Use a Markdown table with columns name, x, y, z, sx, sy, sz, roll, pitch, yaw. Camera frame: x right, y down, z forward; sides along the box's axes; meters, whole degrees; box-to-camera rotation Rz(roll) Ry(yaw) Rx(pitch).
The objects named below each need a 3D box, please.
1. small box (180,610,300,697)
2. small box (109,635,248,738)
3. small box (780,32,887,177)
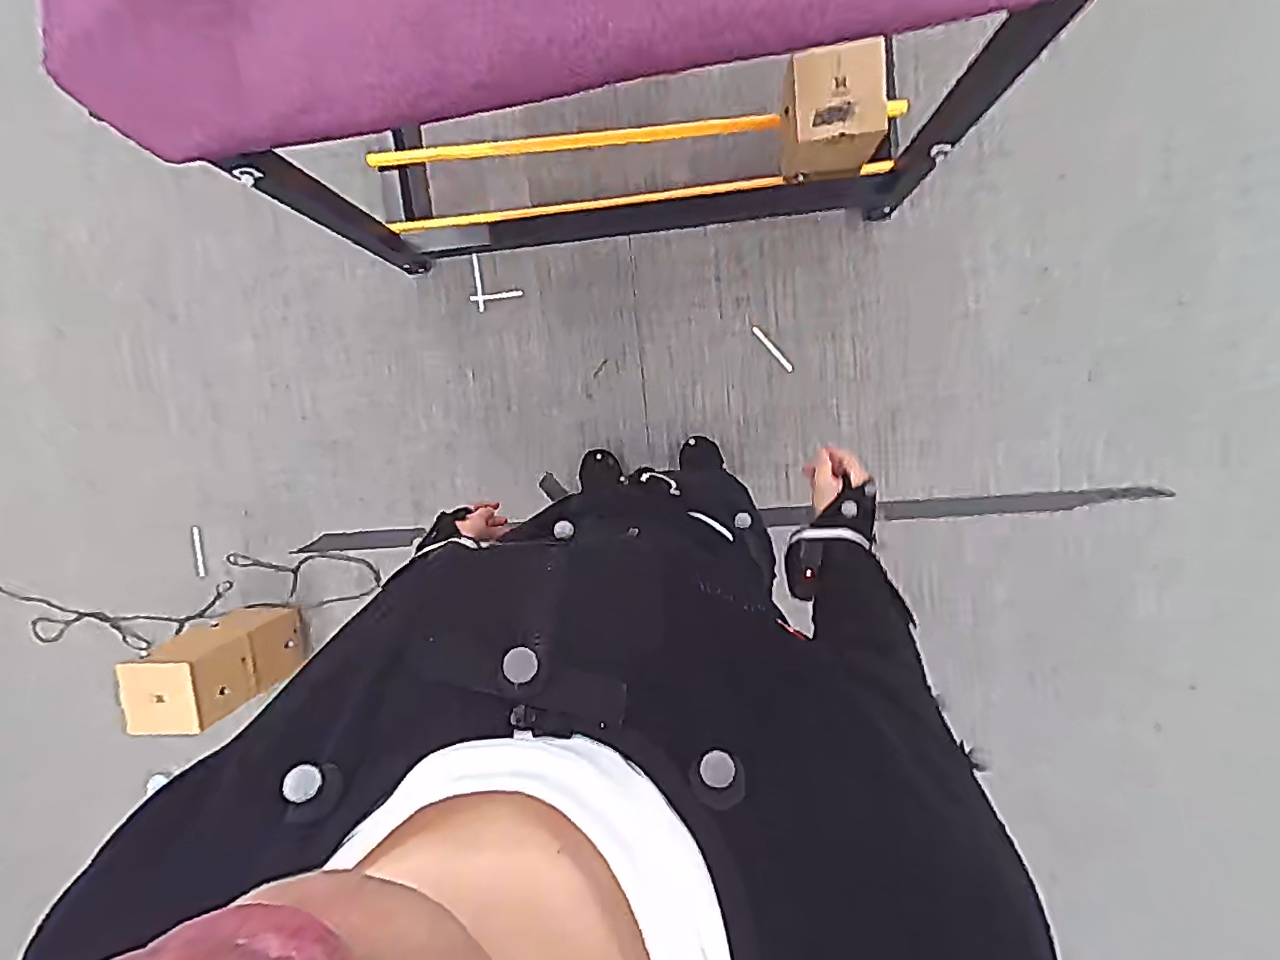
| name | x | y | z | sx | sy | sz | roll | pitch | yaw |
| --- | --- | --- | --- | --- | --- | --- | --- | --- | --- |
| small box | -1.024 | 0.443 | 1.395 | 0.179 | 0.176 | 0.168 | -3 | 97 | 4 |
| small box | -1.036 | 0.464 | 1.234 | 0.179 | 0.176 | 0.168 | -3 | 97 | 5 |
| small box | 0.374 | -0.723 | 1.067 | 0.168 | 0.176 | 0.179 | -4 | 94 | 6 |
